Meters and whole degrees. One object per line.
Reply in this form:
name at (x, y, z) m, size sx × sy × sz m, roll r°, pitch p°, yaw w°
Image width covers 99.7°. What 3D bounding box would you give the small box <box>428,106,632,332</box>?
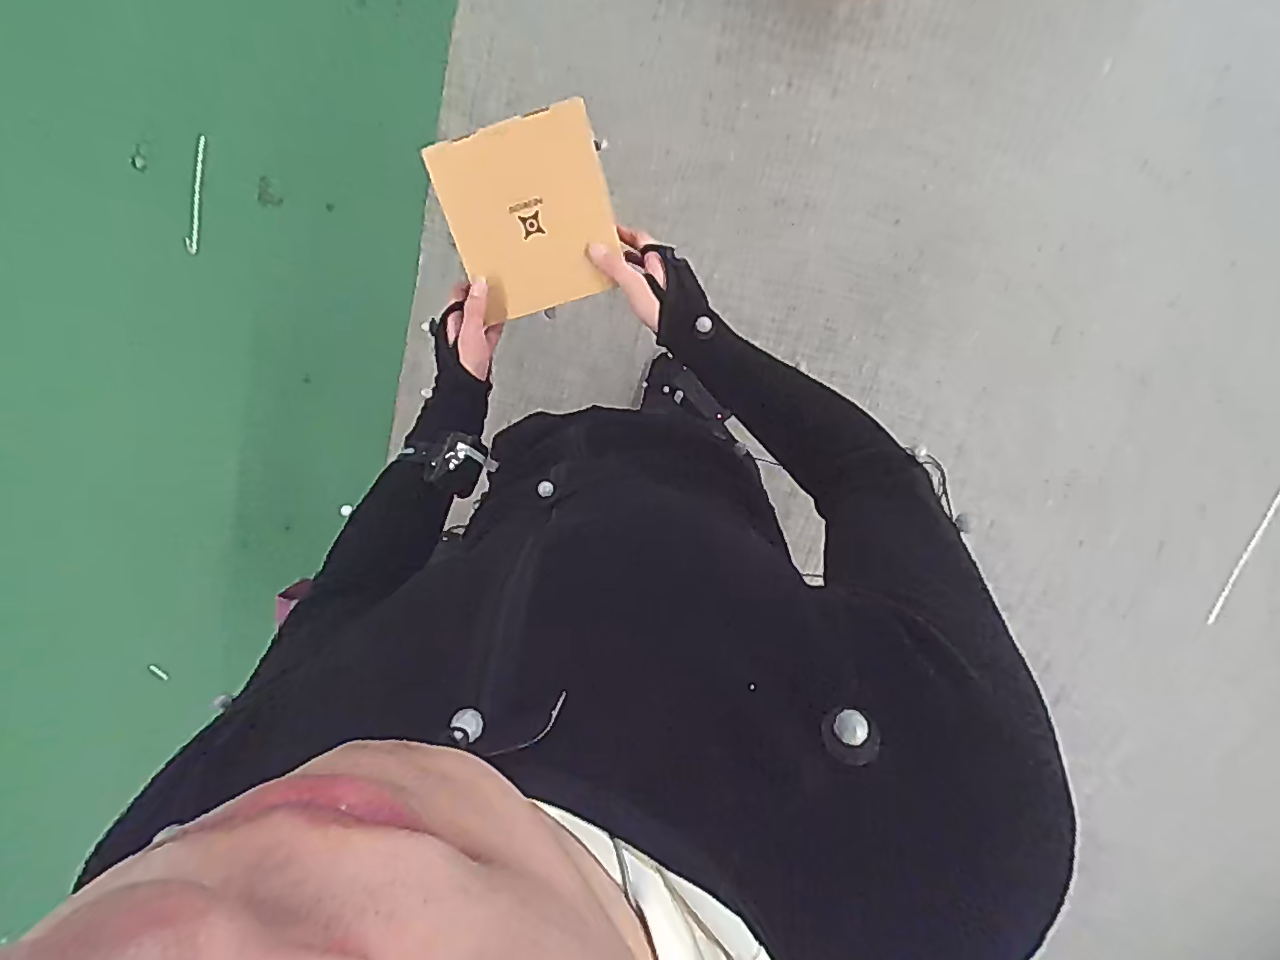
small box at (-0.106, -0.285, 0.617) m, size 0.168 × 0.176 × 0.179 m, roll -14°, pitch 111°, yaw 5°
